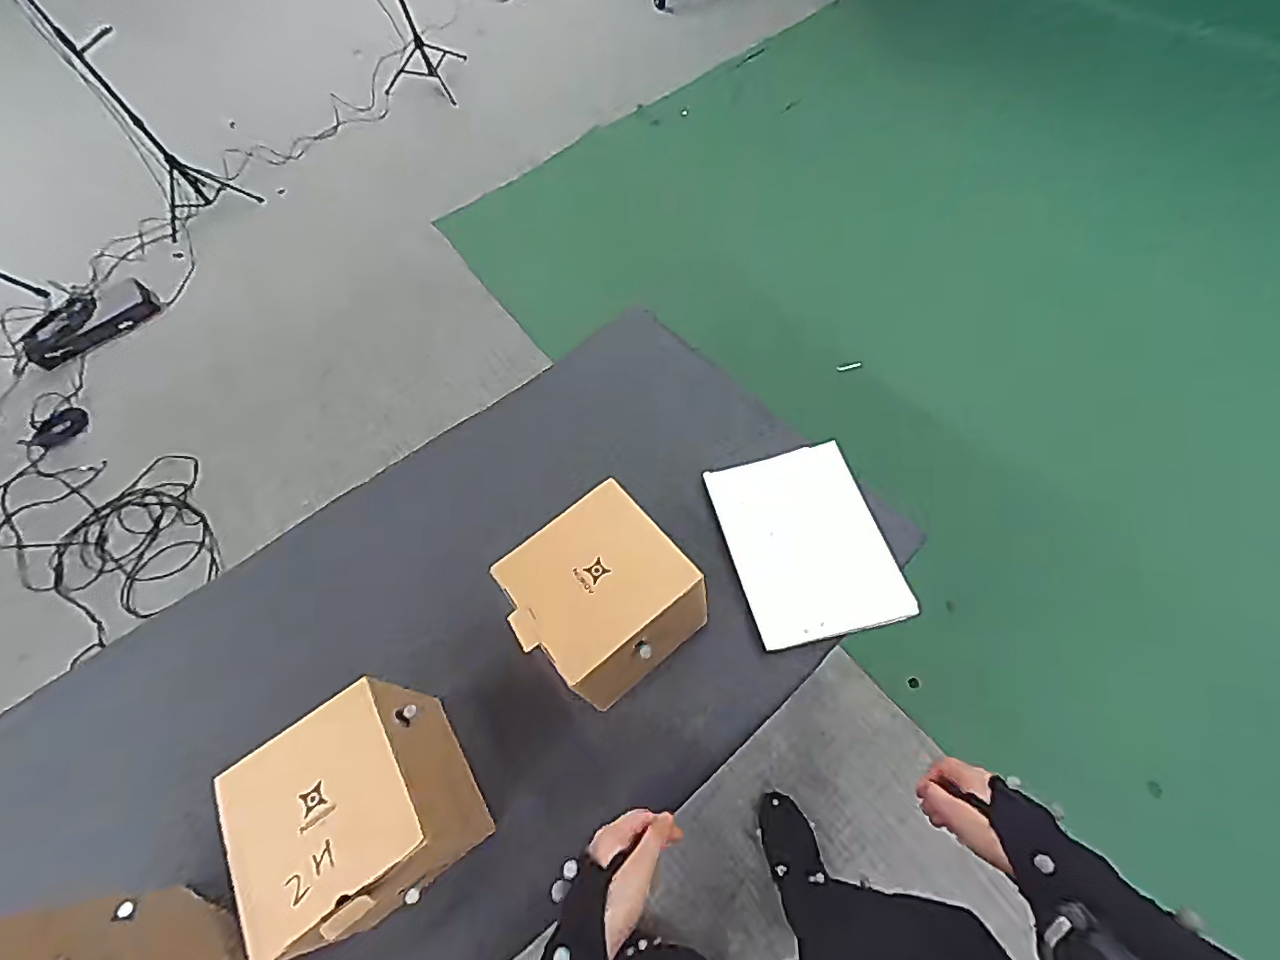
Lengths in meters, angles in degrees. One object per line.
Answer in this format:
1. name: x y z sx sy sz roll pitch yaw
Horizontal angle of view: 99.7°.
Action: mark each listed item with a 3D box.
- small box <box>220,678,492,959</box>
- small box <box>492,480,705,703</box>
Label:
1. small box: -0.288 0.345 0.573 0.168 0.176 0.179 -35 62 -10
2. small box: -0.039 0.139 0.648 0.179 0.176 0.168 -39 62 -11
